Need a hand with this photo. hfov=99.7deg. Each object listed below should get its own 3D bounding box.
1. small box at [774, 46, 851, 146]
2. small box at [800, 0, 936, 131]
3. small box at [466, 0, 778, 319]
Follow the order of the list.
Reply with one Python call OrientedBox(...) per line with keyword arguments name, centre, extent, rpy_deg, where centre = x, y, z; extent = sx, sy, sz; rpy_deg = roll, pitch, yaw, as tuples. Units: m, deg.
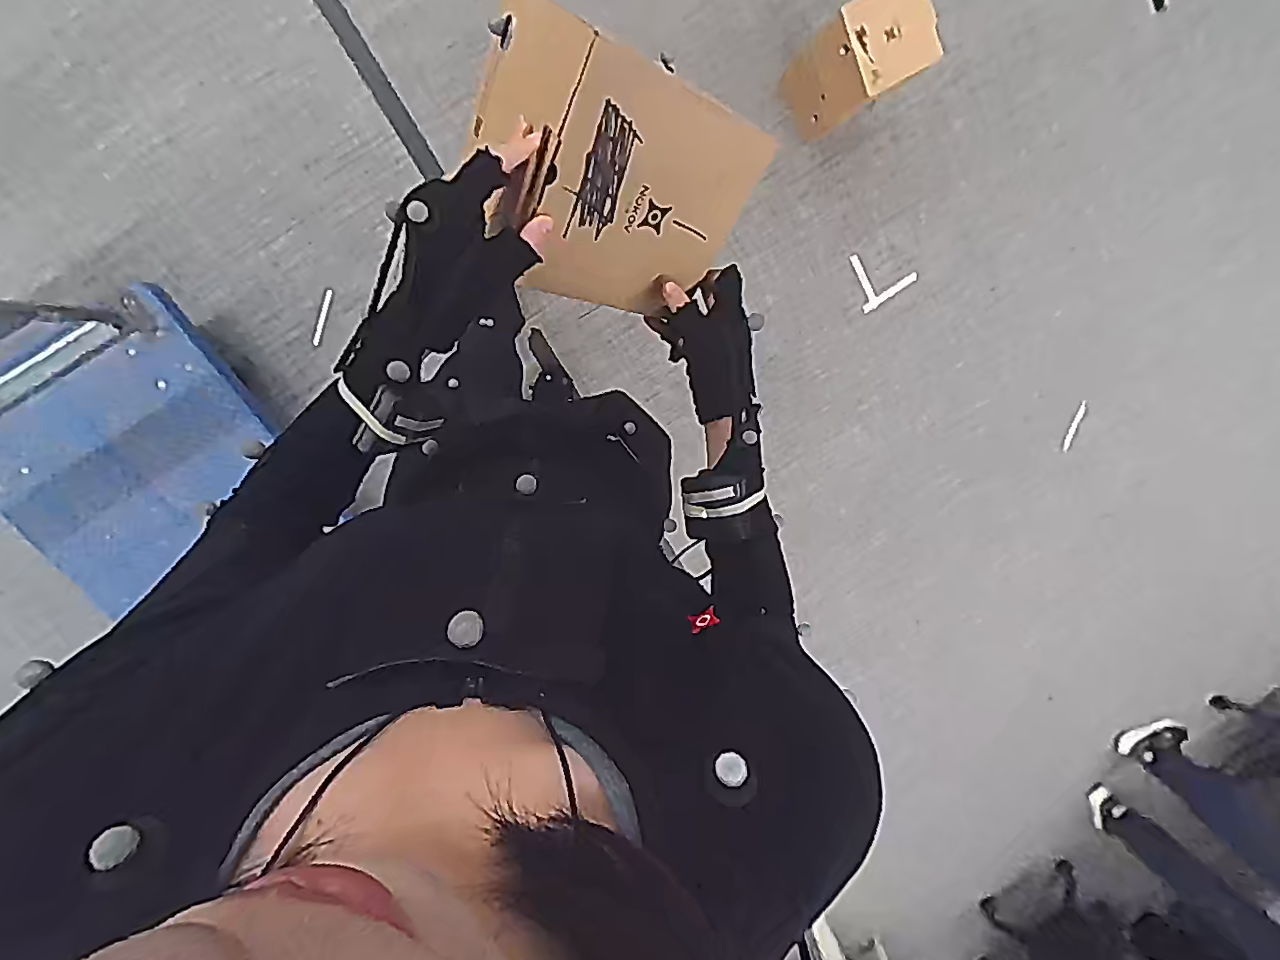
OrientedBox(name="small box", centre=(0.451, -0.932, 1.285), extent=(0.168, 0.176, 0.179), rpy_deg=(-35, 107, 1))
OrientedBox(name="small box", centre=(0.469, -0.876, 1.131), extent=(0.179, 0.176, 0.168), rpy_deg=(-29, 107, -2))
OrientedBox(name="small box", centre=(-0.028, -0.267, 0.459), extent=(0.179, 0.176, 0.168), rpy_deg=(0, 136, -40))
